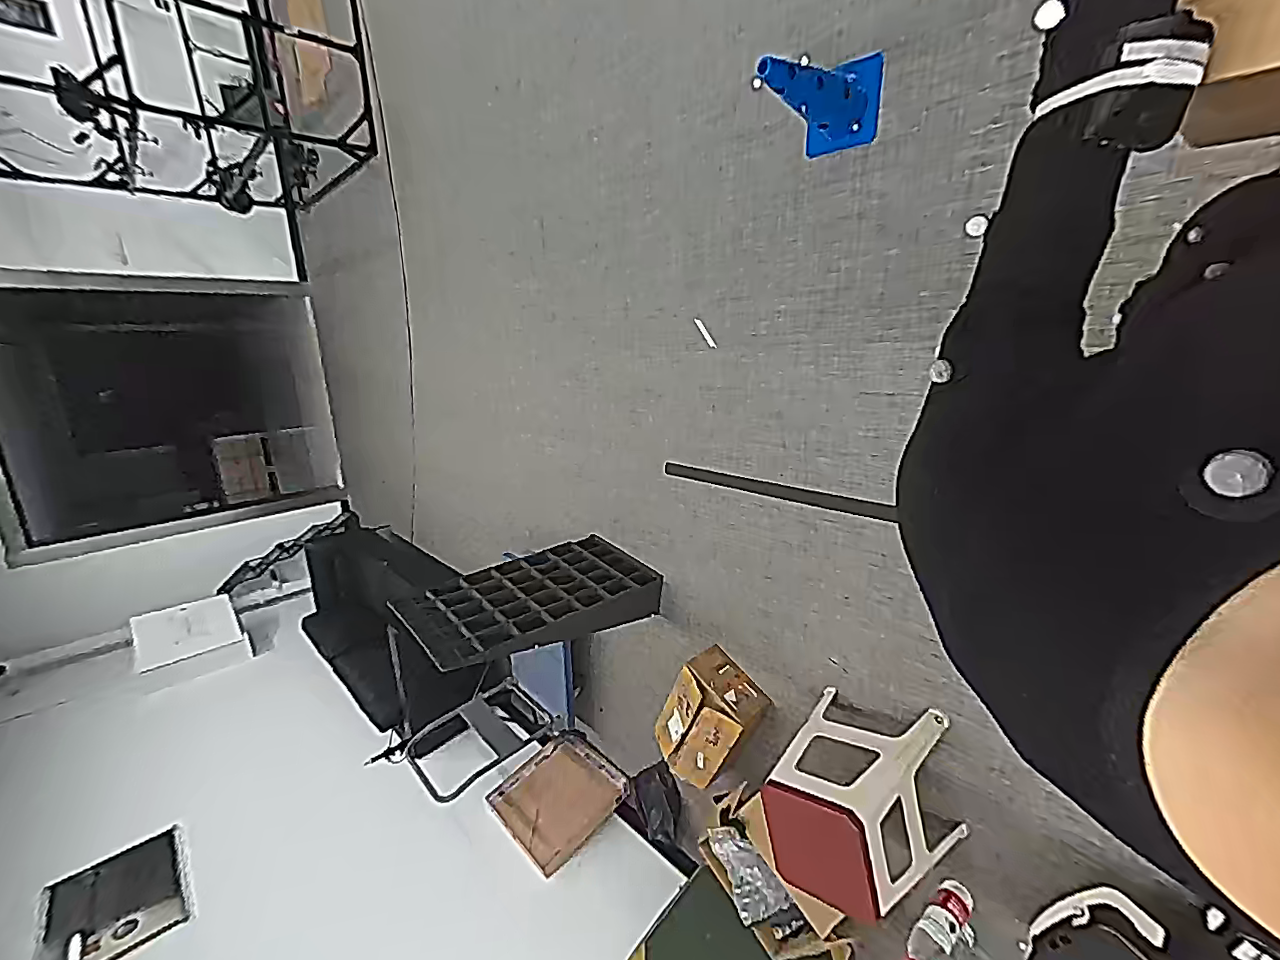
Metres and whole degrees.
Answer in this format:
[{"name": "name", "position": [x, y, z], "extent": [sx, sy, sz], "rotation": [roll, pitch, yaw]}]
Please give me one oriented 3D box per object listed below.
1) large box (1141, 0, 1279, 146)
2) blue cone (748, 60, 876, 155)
[{"name": "large box", "position": [0.581, -0.419, 0.287], "extent": [0.408, 0.320, 0.320], "rotation": [16, 117, 45]}, {"name": "blue cone", "position": [0.403, -0.949, 1.322], "extent": [0.192, 0.380, 0.193], "rotation": [19, 115, 45]}]
